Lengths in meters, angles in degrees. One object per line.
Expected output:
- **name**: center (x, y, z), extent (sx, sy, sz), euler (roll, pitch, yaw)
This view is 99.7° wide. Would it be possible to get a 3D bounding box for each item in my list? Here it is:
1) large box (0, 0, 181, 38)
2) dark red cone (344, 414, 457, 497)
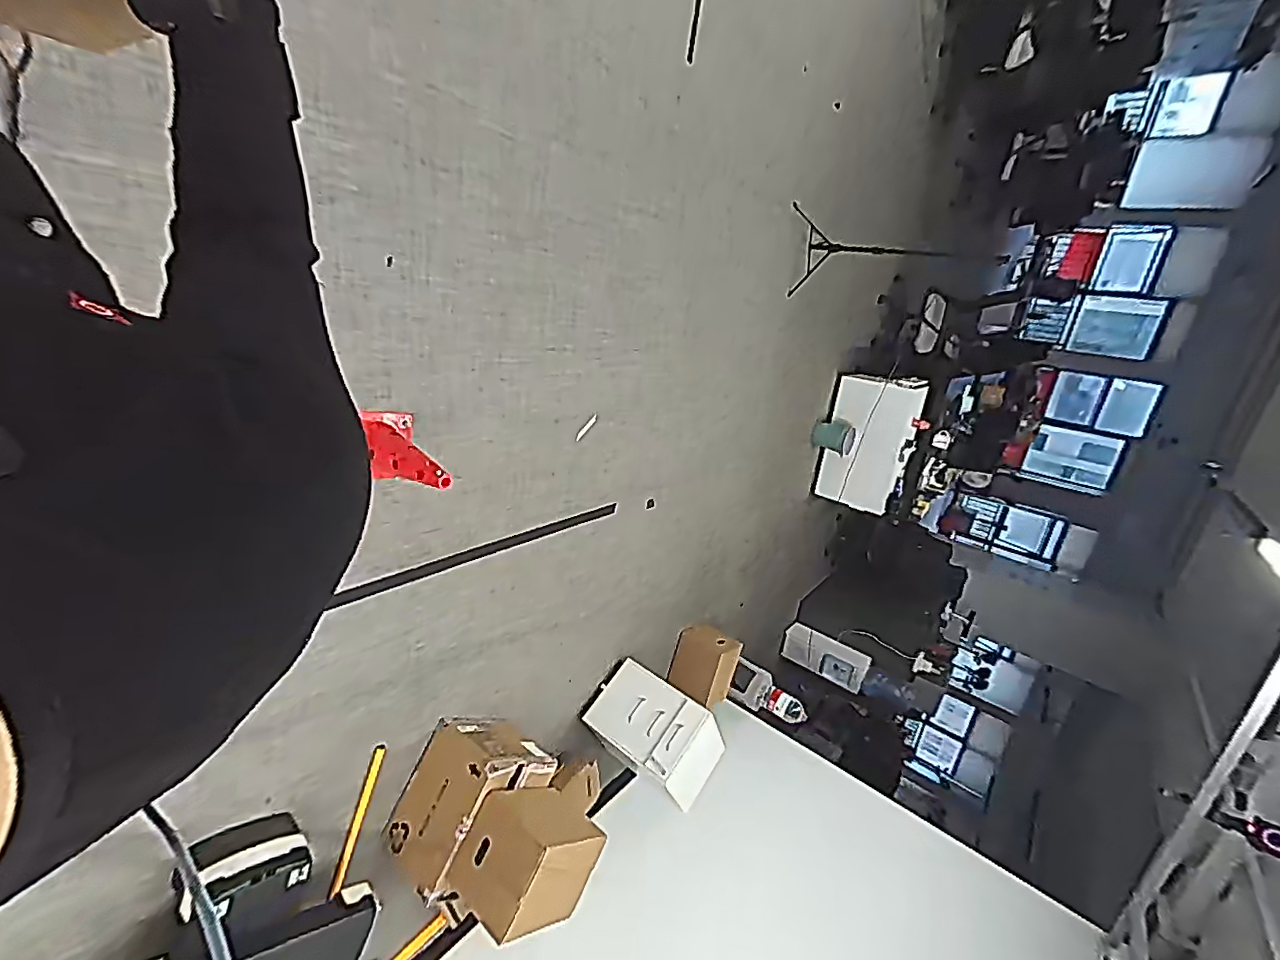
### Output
- **large box**: center (-0.523, -0.488, 0.252), extent (0.408, 0.320, 0.320), euler (-14, 123, -50)
- **dark red cone**: center (-0.605, -0.037, 1.428), extent (0.201, 0.394, 0.202), euler (-6, 112, -51)
